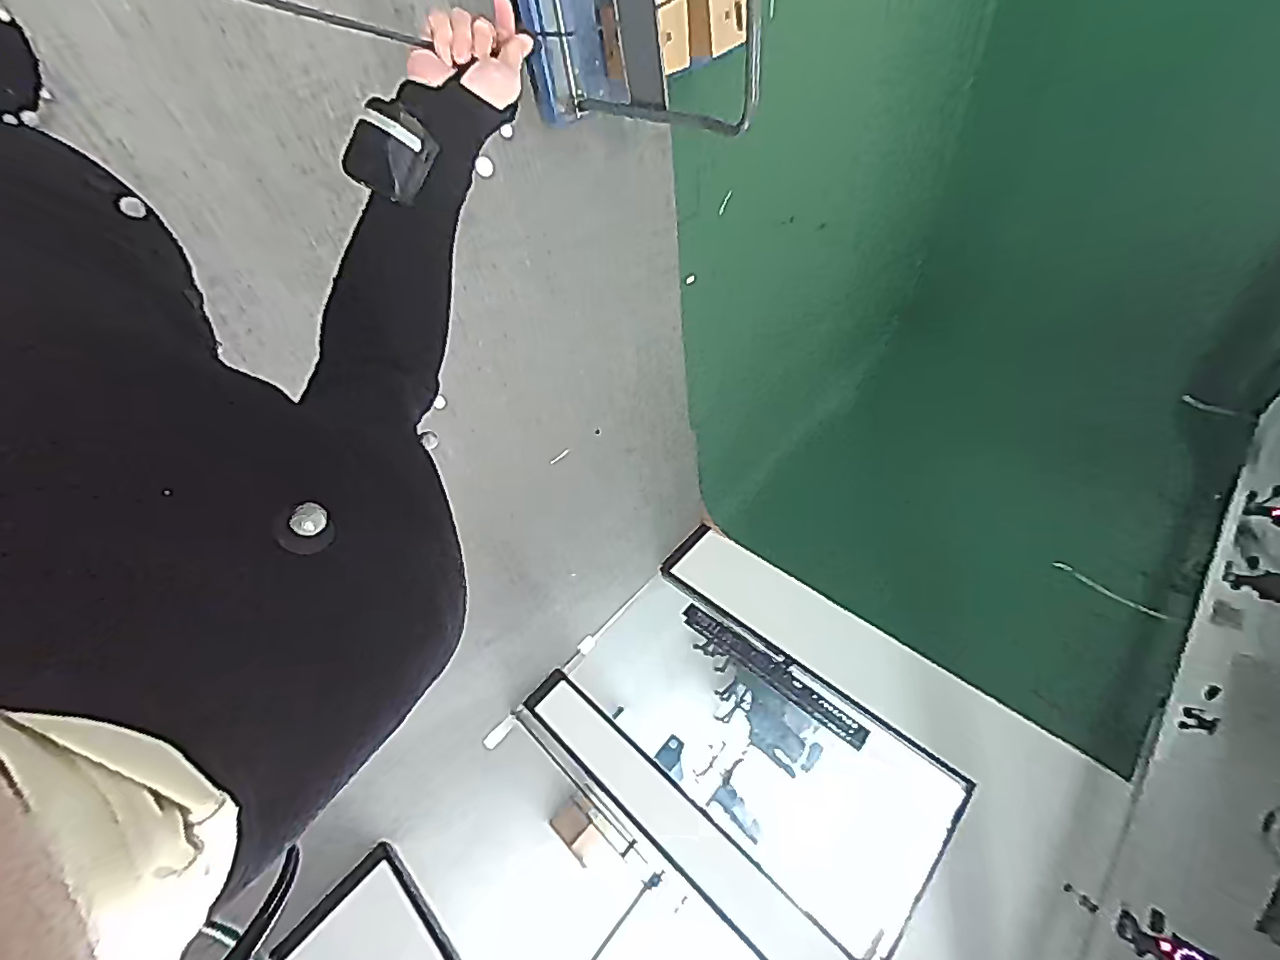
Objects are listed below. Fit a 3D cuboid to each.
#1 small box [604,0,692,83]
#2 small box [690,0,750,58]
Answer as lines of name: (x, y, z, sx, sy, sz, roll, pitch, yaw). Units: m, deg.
small box: (0.025, -1.237, 1.512, 0.179, 0.176, 0.168, -40, 142, -25)
small box: (0.211, -1.397, 1.624, 0.179, 0.176, 0.168, -42, 143, -21)
